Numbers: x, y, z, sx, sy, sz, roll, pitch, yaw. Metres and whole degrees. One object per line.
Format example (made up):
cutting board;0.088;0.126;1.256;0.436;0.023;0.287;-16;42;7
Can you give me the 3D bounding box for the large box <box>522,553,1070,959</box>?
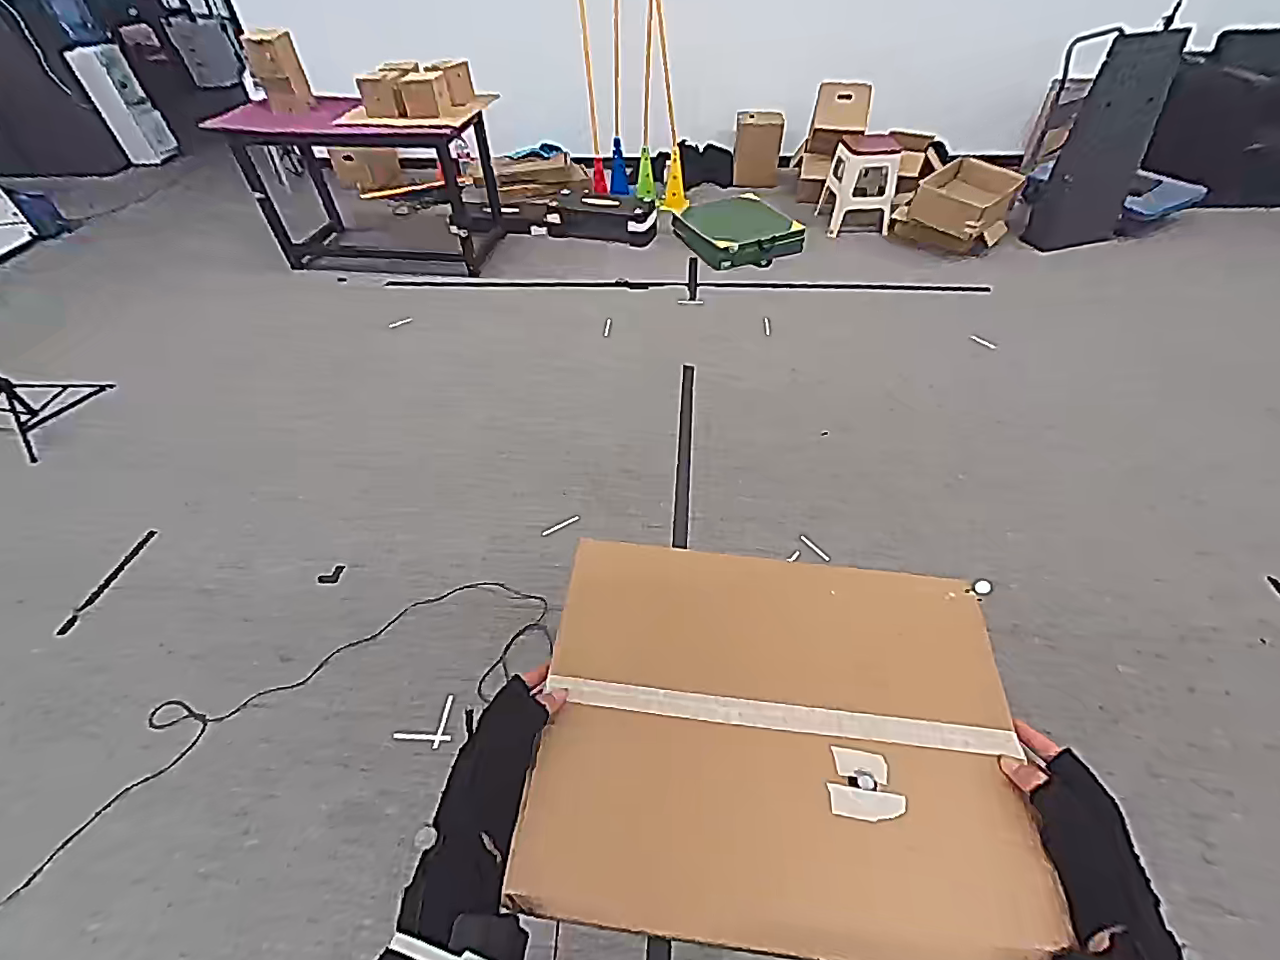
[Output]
large box;0.120;0.305;0.595;0.408;0.320;0.320;6;53;4
